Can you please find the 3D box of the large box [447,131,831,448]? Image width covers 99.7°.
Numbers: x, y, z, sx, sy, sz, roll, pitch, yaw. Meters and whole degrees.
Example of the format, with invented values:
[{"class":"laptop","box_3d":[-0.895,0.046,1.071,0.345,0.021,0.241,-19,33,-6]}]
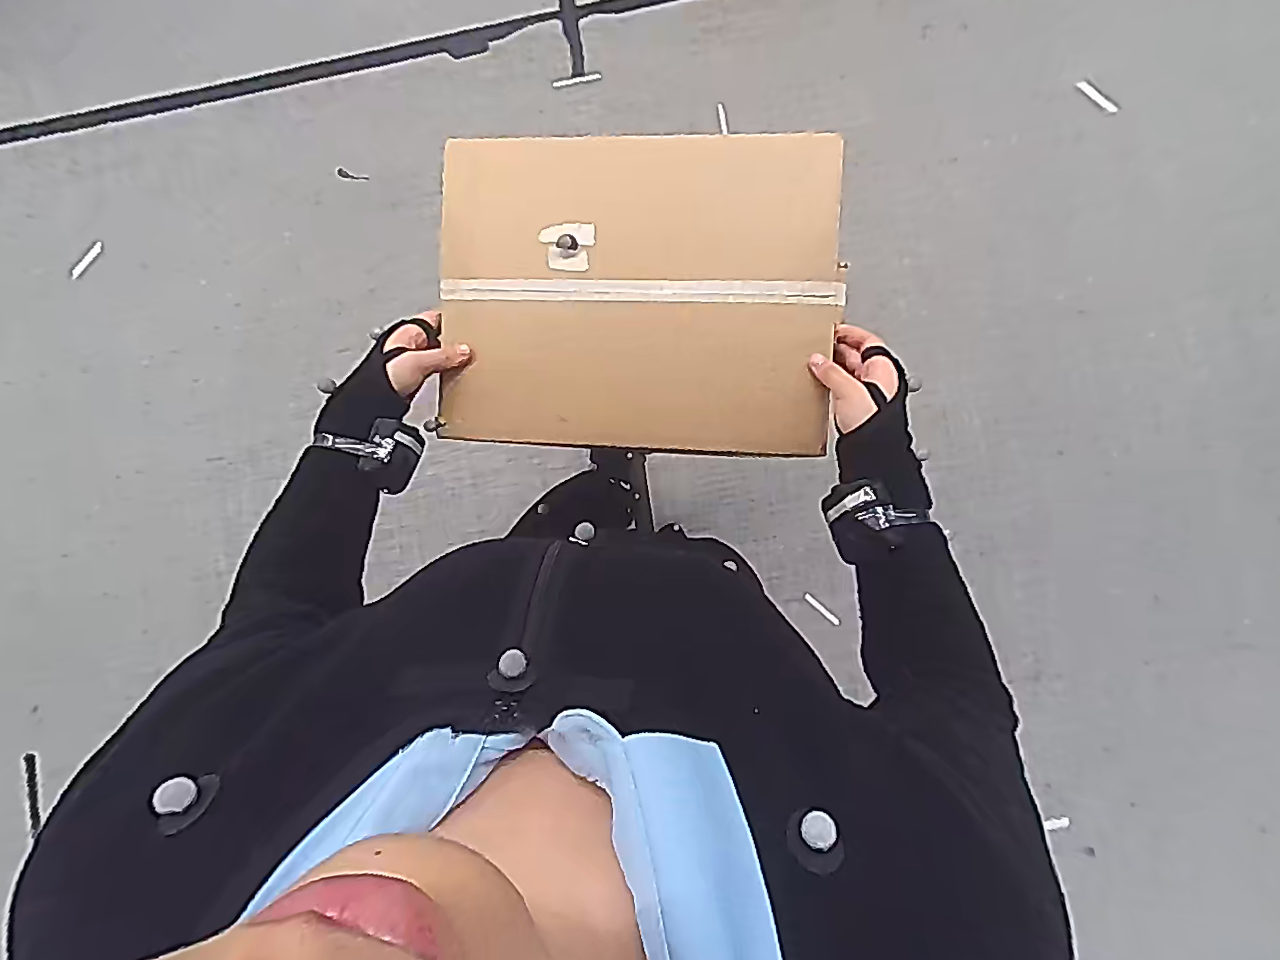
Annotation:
[{"class":"large box","box_3d":[0.011,-0.200,0.708,0.408,0.320,0.320,2,91,8]}]
